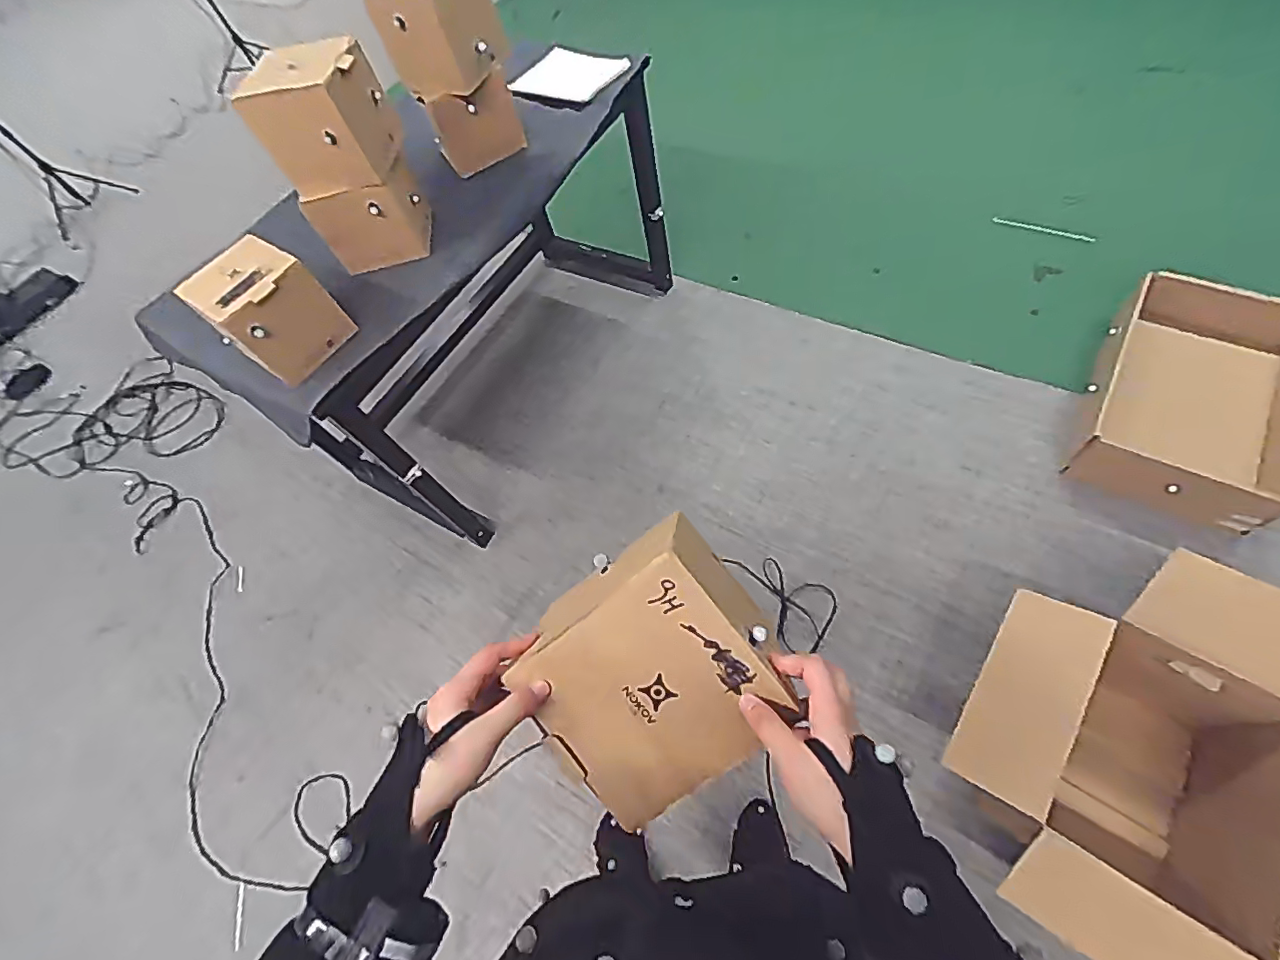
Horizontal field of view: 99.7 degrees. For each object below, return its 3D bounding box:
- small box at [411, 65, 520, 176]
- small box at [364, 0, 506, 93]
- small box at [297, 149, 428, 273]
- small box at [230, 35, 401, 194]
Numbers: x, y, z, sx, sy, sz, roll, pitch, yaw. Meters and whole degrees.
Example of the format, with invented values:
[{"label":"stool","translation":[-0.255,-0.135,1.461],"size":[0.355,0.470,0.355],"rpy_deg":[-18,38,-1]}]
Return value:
[{"label":"small box","translation":[-0.390,-0.834,1.224],"size":[0.179,0.176,0.168],"rpy_deg":[-31,61,-6]},{"label":"small box","translation":[-0.402,-0.907,1.076],"size":[0.179,0.176,0.168],"rpy_deg":[20,68,19]},{"label":"small box","translation":[-0.551,-0.556,1.102],"size":[0.179,0.176,0.168],"rpy_deg":[-13,60,3]},{"label":"small box","translation":[-0.562,-0.643,0.964],"size":[0.179,0.176,0.168],"rpy_deg":[-3,61,9]}]
